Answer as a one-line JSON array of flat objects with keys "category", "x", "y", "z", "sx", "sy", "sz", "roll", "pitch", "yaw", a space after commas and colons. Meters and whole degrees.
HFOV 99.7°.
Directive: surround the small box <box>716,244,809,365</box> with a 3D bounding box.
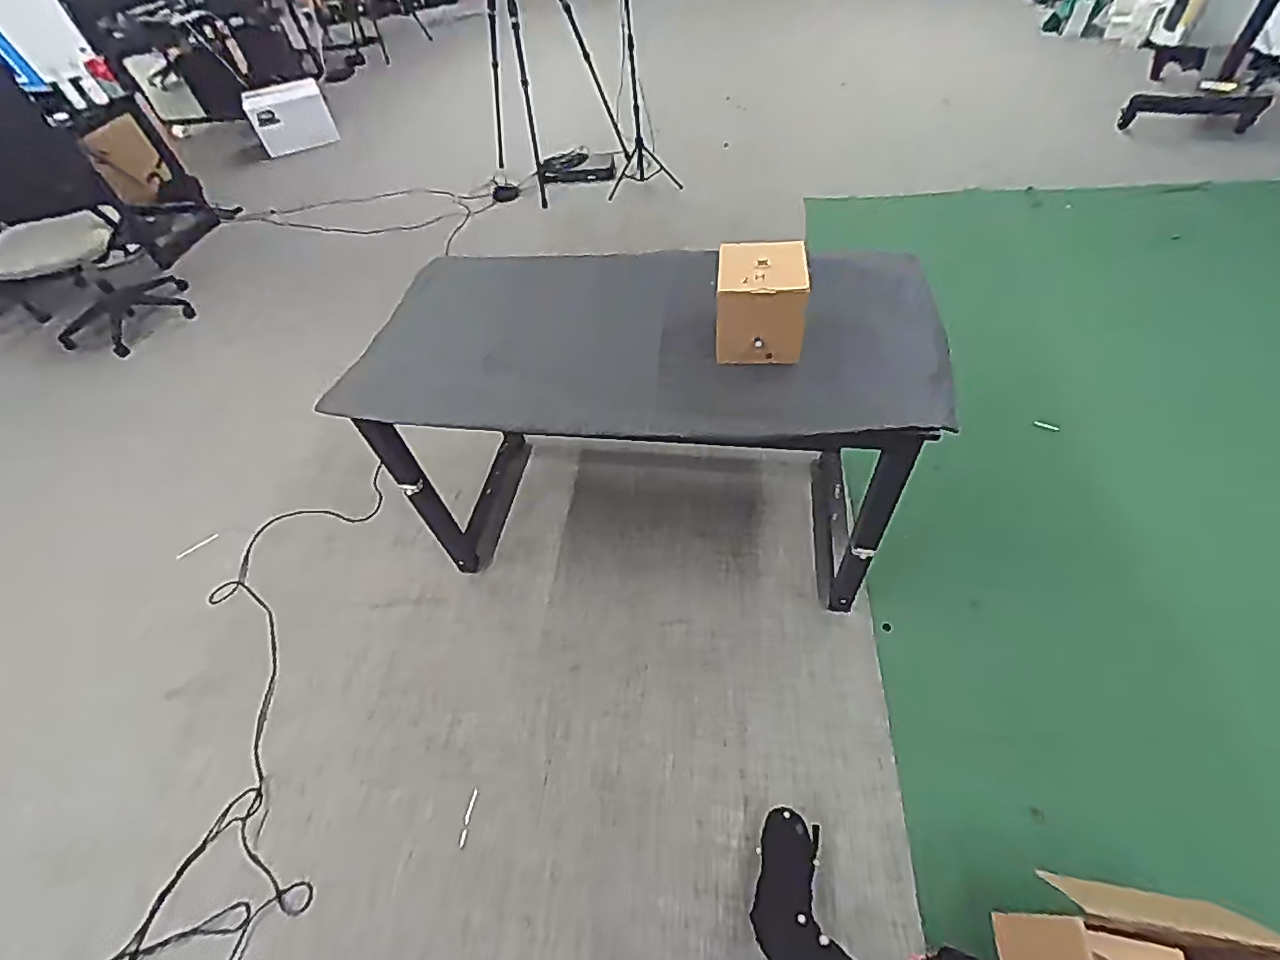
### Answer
[{"category": "small box", "x": 0.241, "y": -0.354, "z": 1.091, "sx": 0.168, "sy": 0.176, "sz": 0.179, "roll": 2, "pitch": 51, "yaw": 9}]
